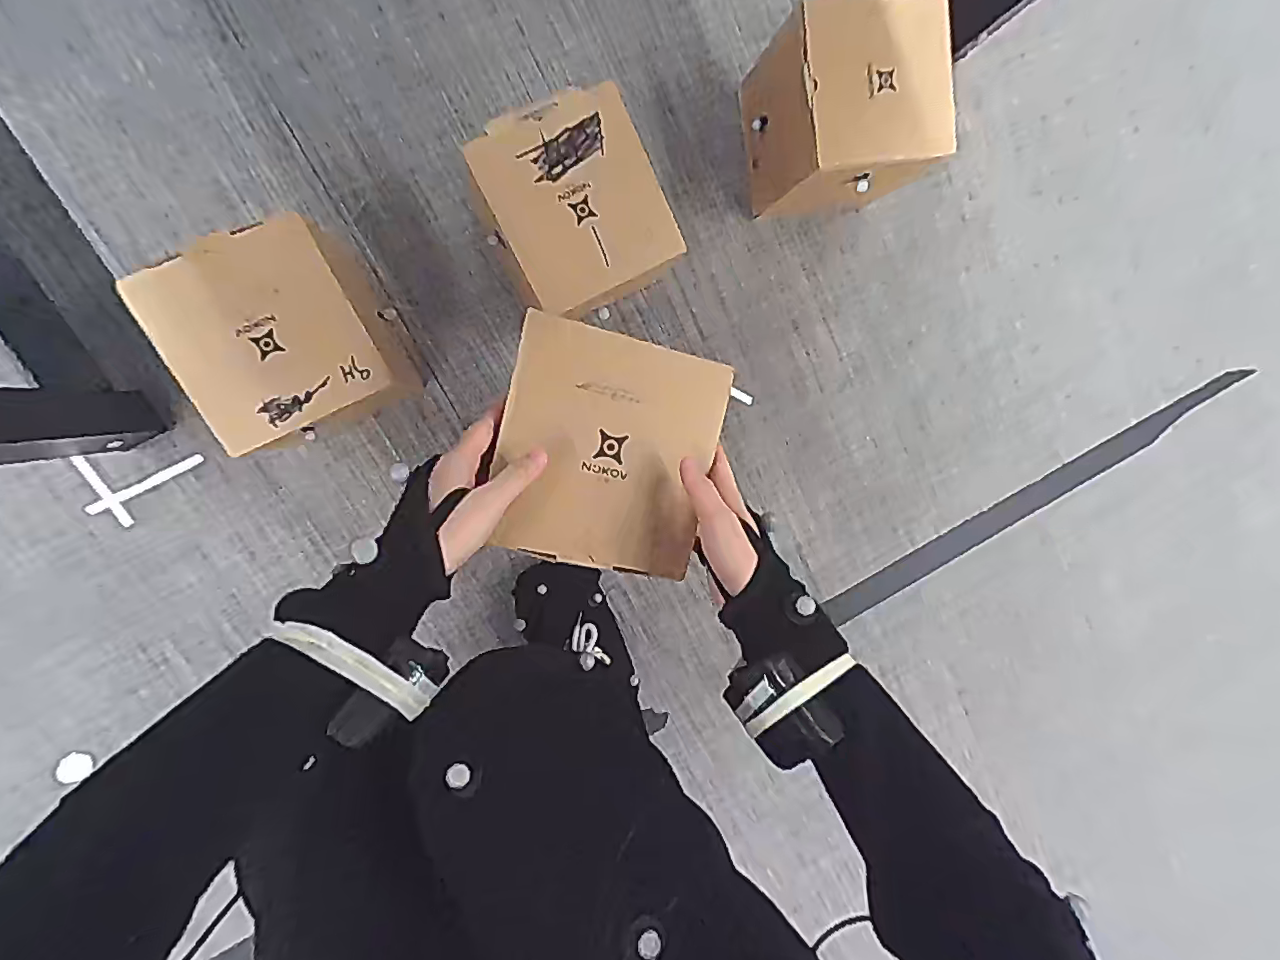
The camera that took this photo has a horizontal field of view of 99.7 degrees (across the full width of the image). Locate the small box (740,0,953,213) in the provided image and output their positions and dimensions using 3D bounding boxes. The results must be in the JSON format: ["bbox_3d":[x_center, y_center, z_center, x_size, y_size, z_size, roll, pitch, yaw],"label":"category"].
[{"bbox_3d":[0.241,-0.443,0.658,0.179,0.176,0.168,-12,100,-9],"label":"small box"}]

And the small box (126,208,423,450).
[{"bbox_3d":[-0.356,-0.145,0.571,0.168,0.176,0.179,-27,101,-7],"label":"small box"}]

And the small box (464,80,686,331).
[{"bbox_3d":[-0.077,-0.288,0.610,0.168,0.176,0.179,-29,104,-6],"label":"small box"}]
